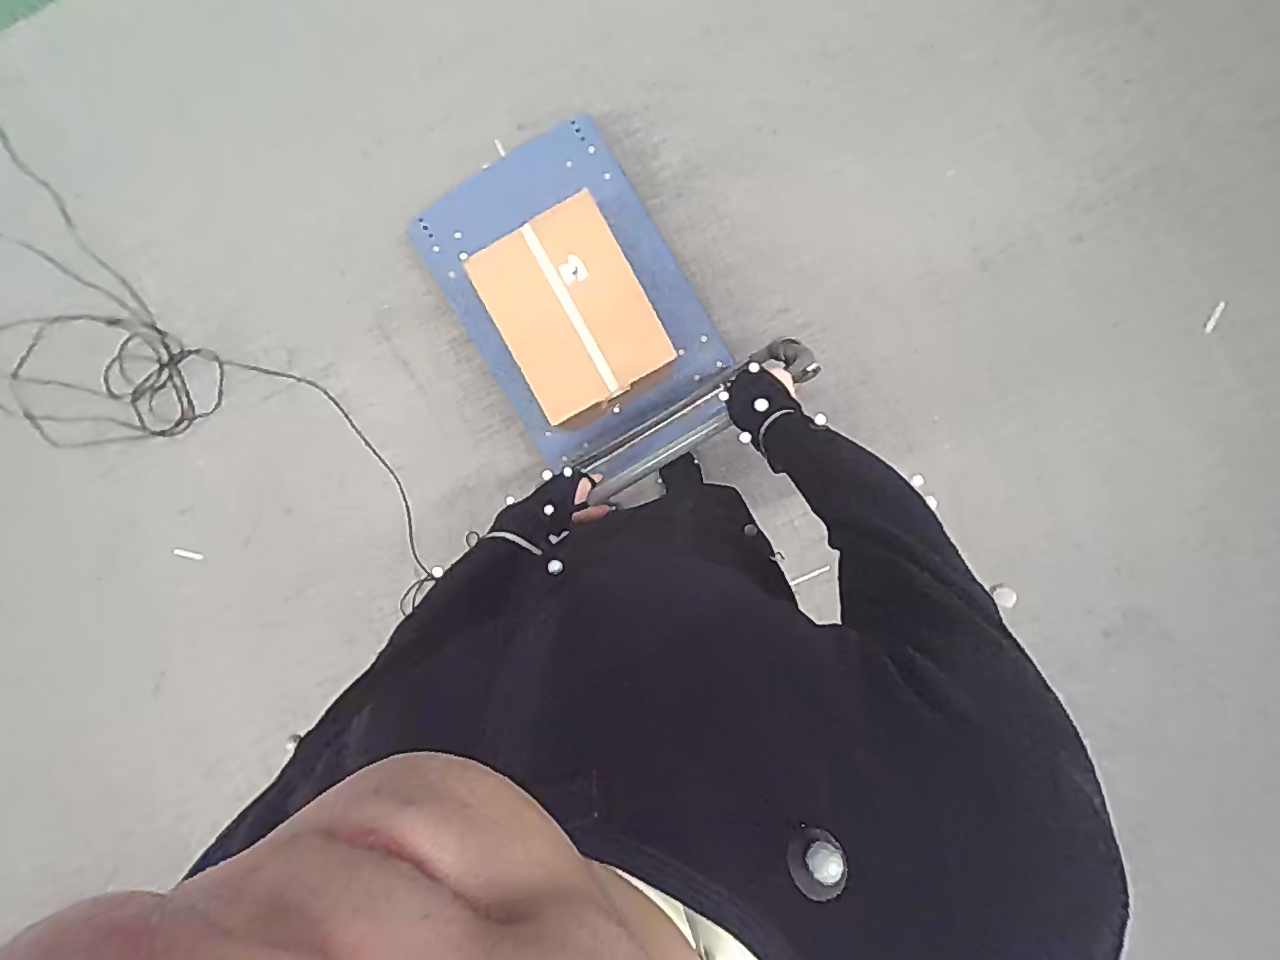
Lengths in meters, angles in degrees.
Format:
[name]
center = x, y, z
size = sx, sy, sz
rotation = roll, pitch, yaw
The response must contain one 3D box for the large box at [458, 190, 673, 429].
[large box]
center = -0.151, -0.369, 1.287
size = 0.320, 0.320, 0.408
rotation = -29, 92, 2
